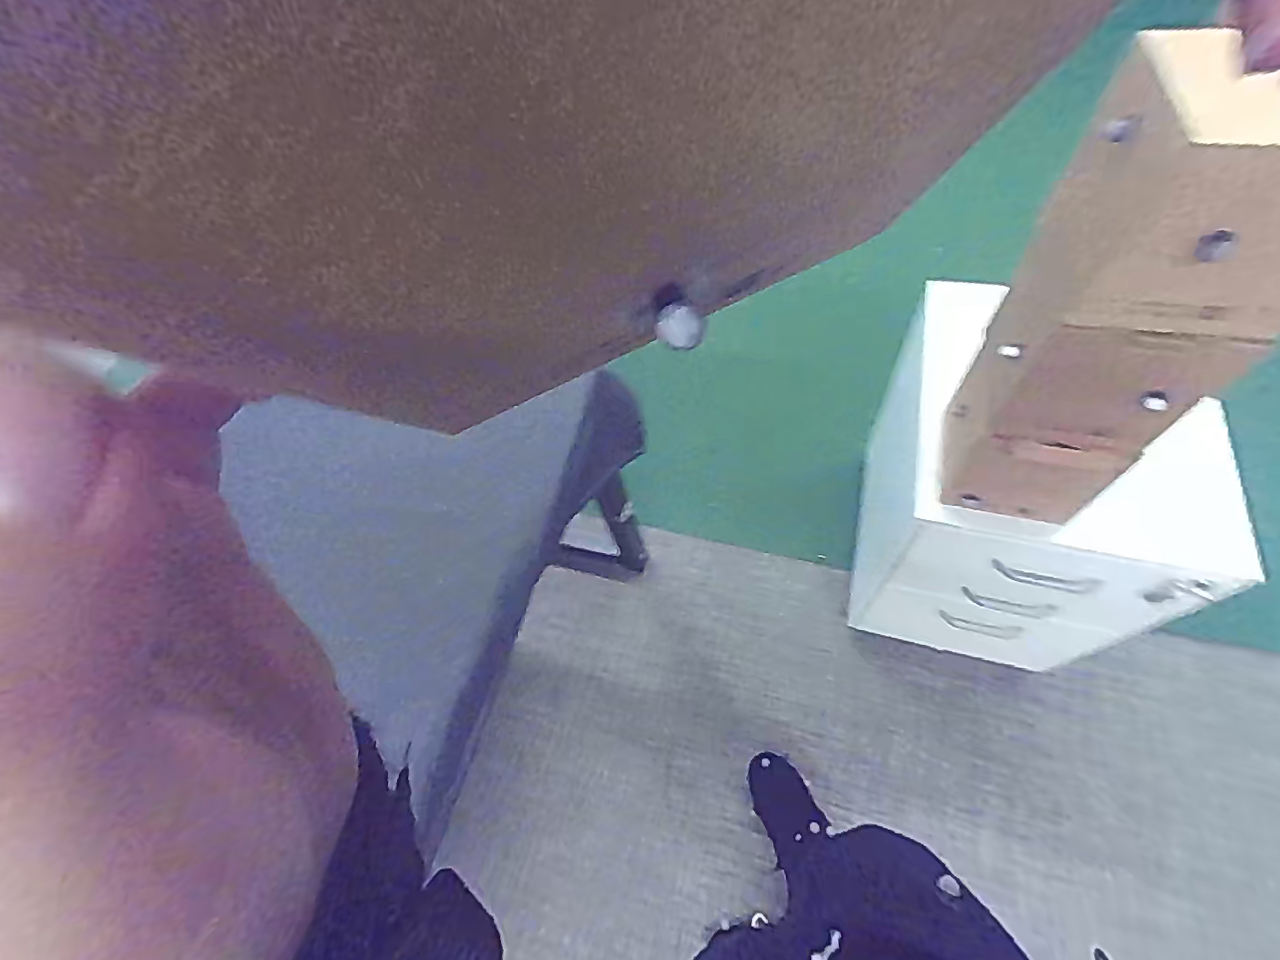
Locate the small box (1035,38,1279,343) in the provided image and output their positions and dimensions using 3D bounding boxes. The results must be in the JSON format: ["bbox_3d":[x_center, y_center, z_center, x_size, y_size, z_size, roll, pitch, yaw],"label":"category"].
[{"bbox_3d":[0.477,-0.240,0.463,0.168,0.176,0.179,8,60,12],"label":"small box"}]

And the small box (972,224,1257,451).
[{"bbox_3d":[0.493,-0.153,0.599,0.168,0.176,0.179,10,60,12],"label":"small box"}]

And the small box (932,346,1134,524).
[{"bbox_3d":[0.512,-0.061,0.732,0.168,0.176,0.179,11,60,14],"label":"small box"}]
